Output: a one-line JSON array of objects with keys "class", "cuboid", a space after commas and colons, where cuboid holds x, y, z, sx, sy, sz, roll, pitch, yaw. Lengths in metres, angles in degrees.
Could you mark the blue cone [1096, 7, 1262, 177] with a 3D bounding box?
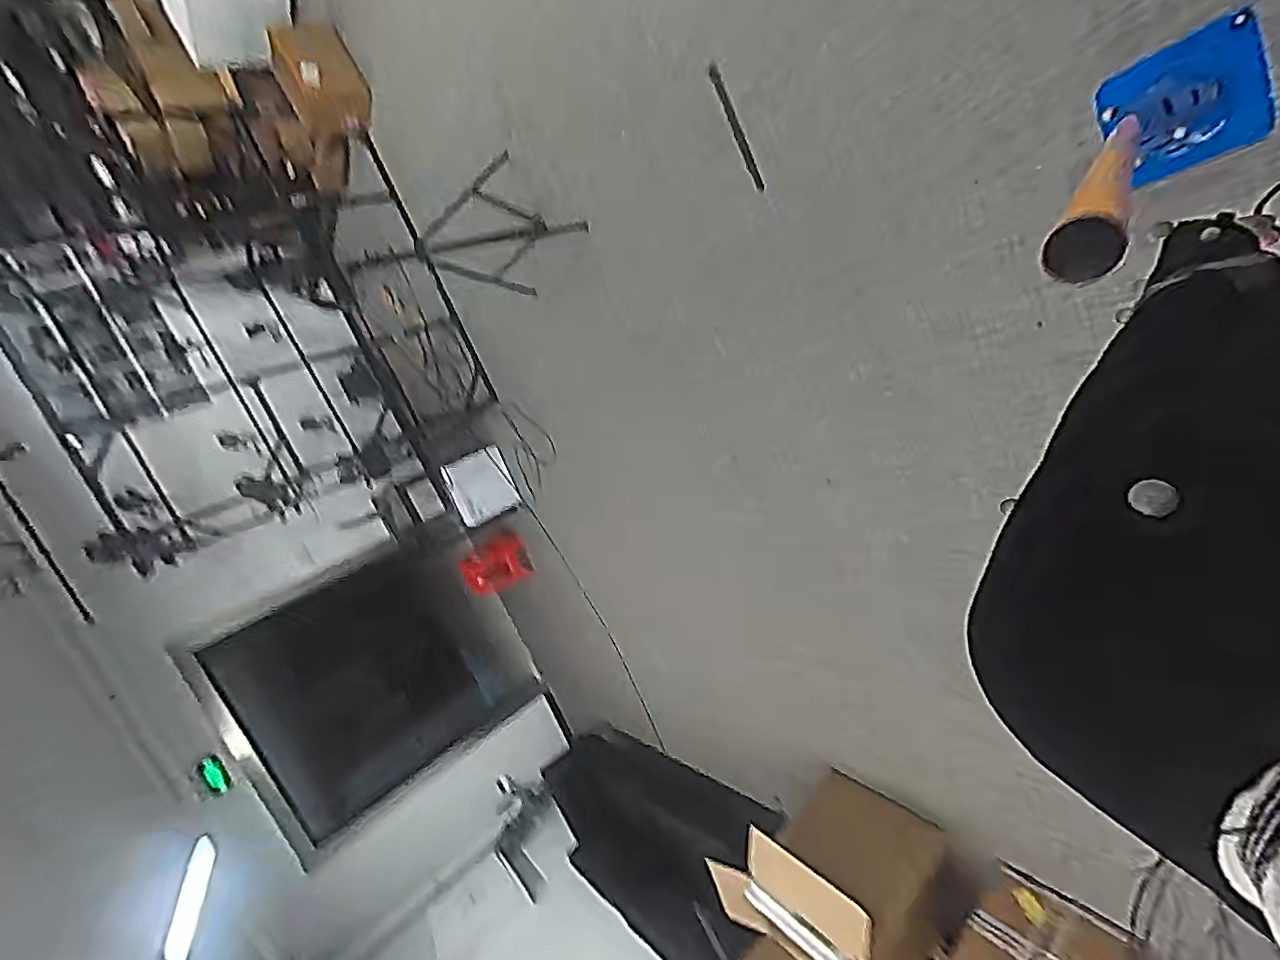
[{"class": "blue cone", "cuboid": [0.791, -0.575, 0.833, 0.193, 0.380, 0.192, -6, 110, 56]}]
